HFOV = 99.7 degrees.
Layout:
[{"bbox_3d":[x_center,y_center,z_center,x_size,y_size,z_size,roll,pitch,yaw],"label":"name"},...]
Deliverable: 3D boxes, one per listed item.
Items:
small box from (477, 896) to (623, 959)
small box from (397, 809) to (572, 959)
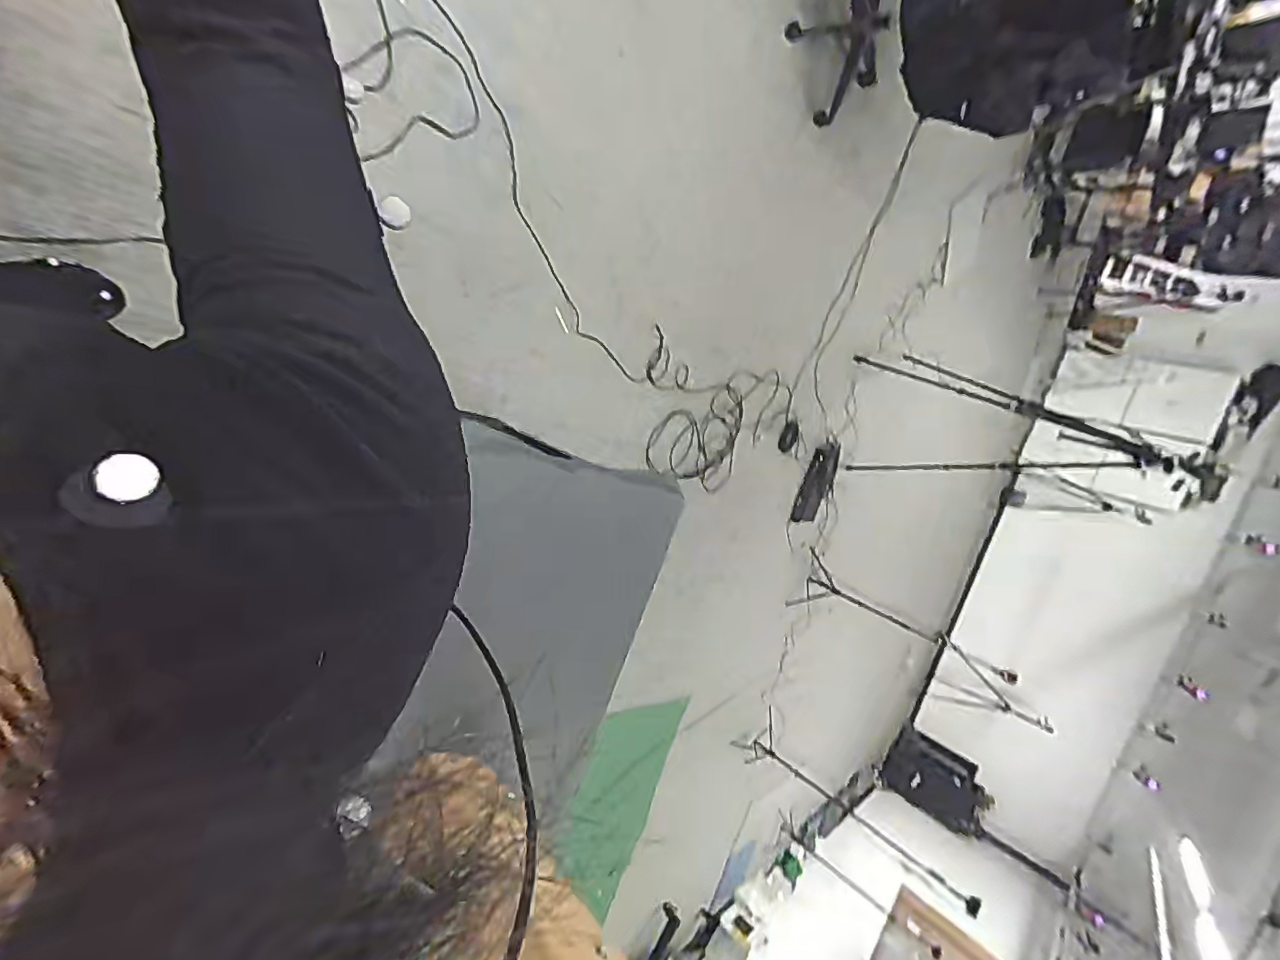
[{"bbox_3d":[-0.131,0.710,0.736,0.179,0.176,0.168,-51,139,-15],"label":"small box"},{"bbox_3d":[-0.246,0.659,0.840,0.179,0.176,0.168,-50,139,-17],"label":"small box"}]
